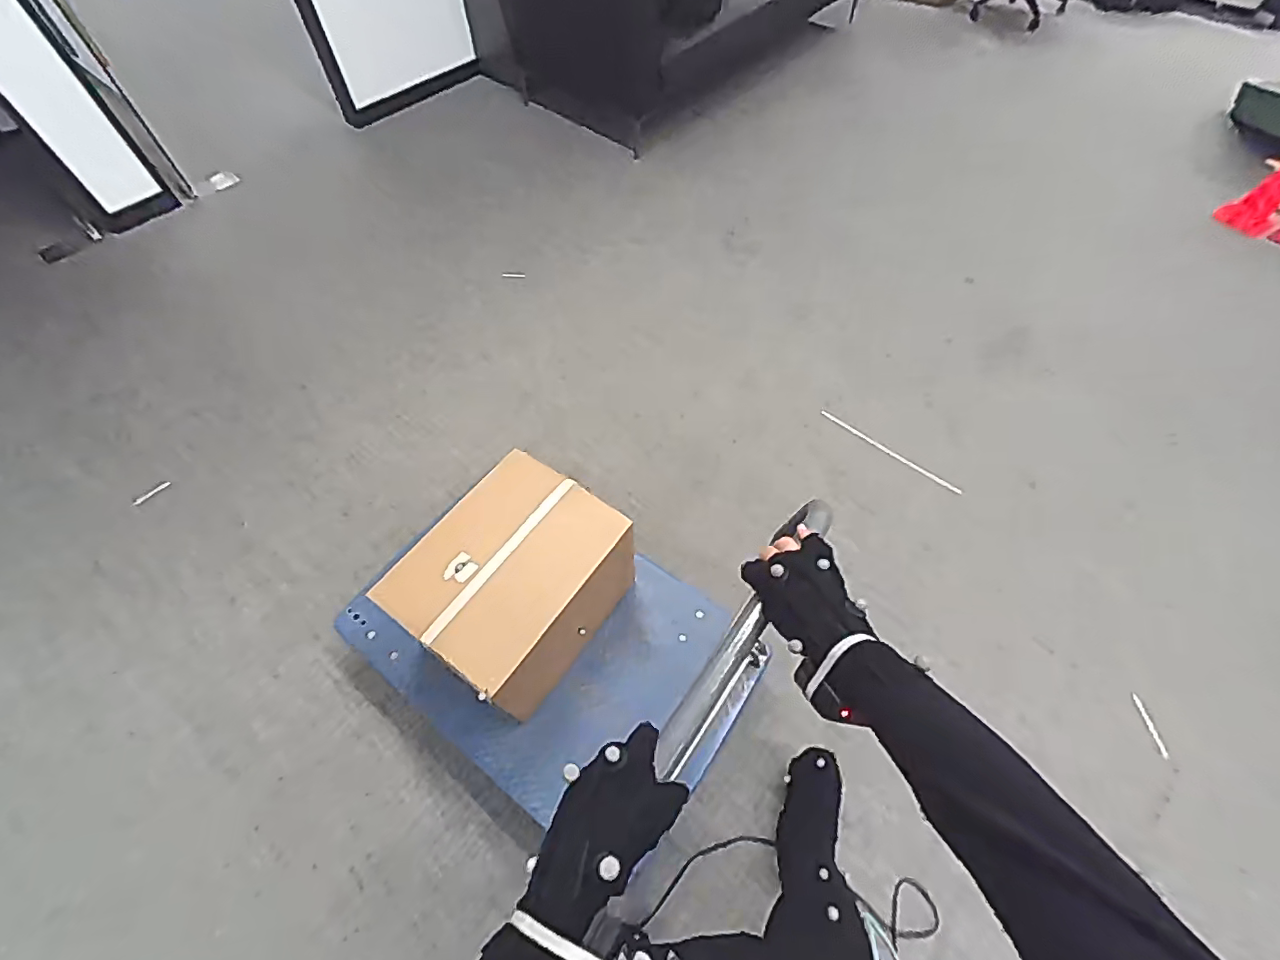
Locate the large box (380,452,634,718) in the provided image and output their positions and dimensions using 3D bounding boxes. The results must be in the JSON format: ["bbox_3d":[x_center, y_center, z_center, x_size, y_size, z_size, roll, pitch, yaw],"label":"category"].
[{"bbox_3d":[-0.244,0.226,1.155,0.320,0.320,0.408,30,64,18],"label":"large box"}]
